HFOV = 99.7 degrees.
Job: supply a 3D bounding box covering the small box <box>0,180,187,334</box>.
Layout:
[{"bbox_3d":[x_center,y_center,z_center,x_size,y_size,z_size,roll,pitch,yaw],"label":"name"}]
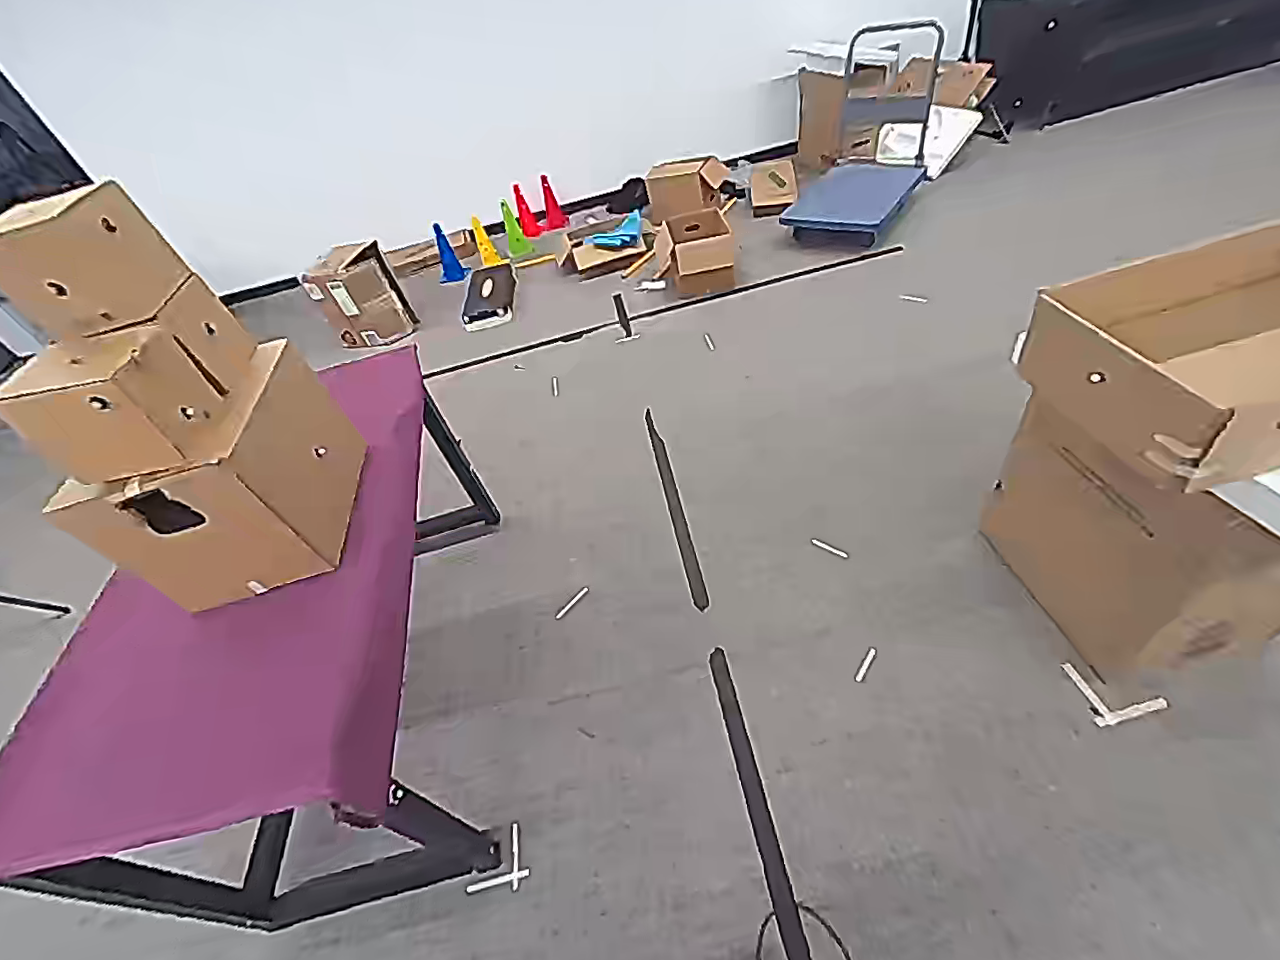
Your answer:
[{"bbox_3d":[-0.908,-0.358,0.890,0.168,0.176,0.179,-15,46,1],"label":"small box"}]
